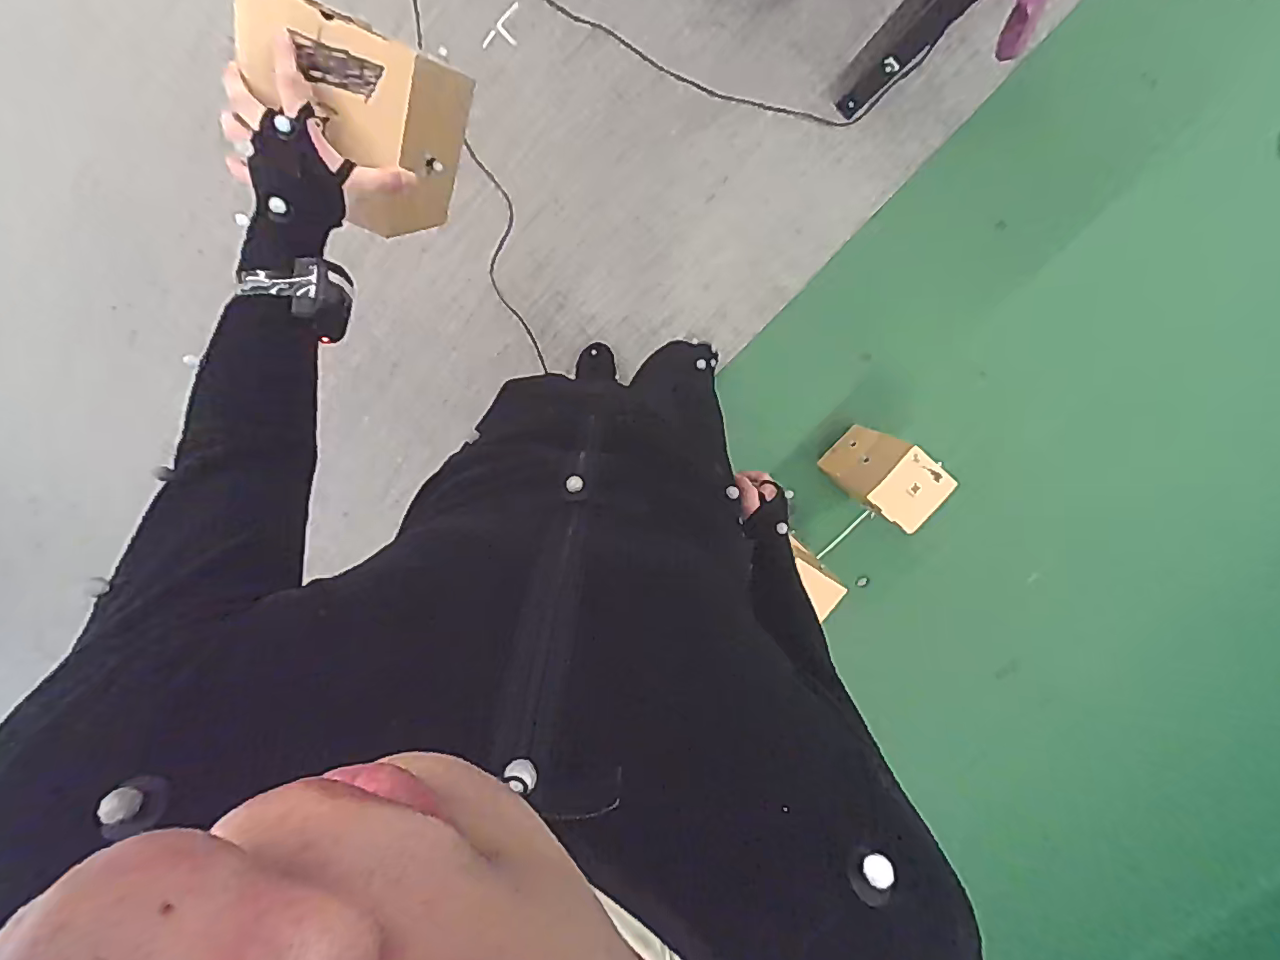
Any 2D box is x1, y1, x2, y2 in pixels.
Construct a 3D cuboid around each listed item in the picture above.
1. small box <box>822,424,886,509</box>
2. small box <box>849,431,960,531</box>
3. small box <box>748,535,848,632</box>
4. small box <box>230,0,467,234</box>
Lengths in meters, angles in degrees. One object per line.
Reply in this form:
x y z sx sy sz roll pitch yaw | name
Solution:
0.665 -0.047 1.570 0.179 0.176 0.168 40 100 -13 | small box
0.675 -0.004 1.412 0.168 0.176 0.179 38 101 -13 | small box
0.425 0.275 1.481 0.179 0.176 0.168 33 102 -10 | small box
-0.309 -0.403 0.598 0.168 0.176 0.179 22 121 -7 | small box
